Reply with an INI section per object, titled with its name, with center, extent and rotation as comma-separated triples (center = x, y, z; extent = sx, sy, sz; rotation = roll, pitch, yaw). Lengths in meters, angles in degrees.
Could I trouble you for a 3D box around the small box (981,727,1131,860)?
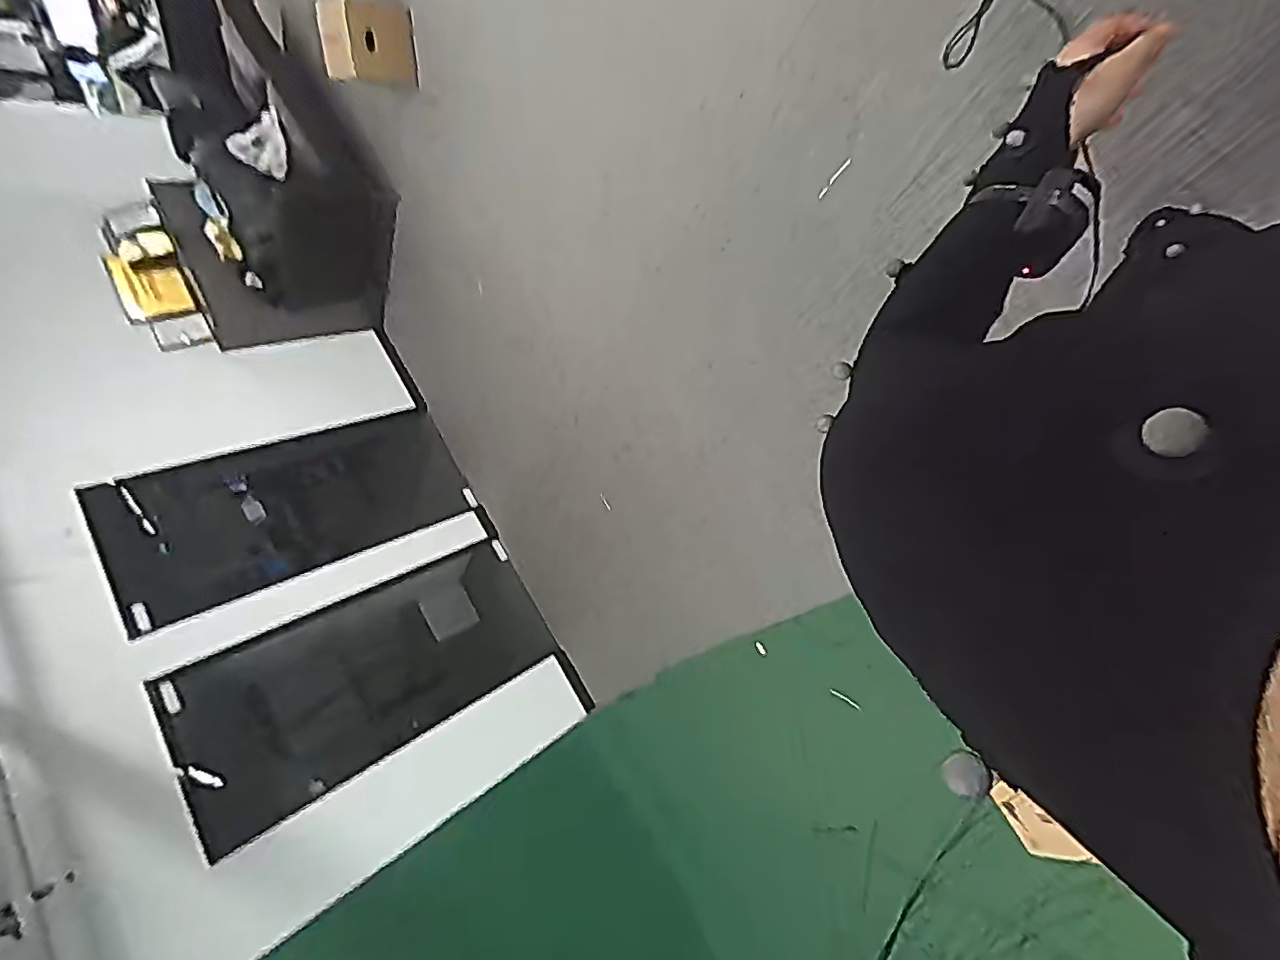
[small box]
center = 0.843, 0.622, 1.092
extent = 0.168, 0.176, 0.179
rotation = 59, 142, 10
